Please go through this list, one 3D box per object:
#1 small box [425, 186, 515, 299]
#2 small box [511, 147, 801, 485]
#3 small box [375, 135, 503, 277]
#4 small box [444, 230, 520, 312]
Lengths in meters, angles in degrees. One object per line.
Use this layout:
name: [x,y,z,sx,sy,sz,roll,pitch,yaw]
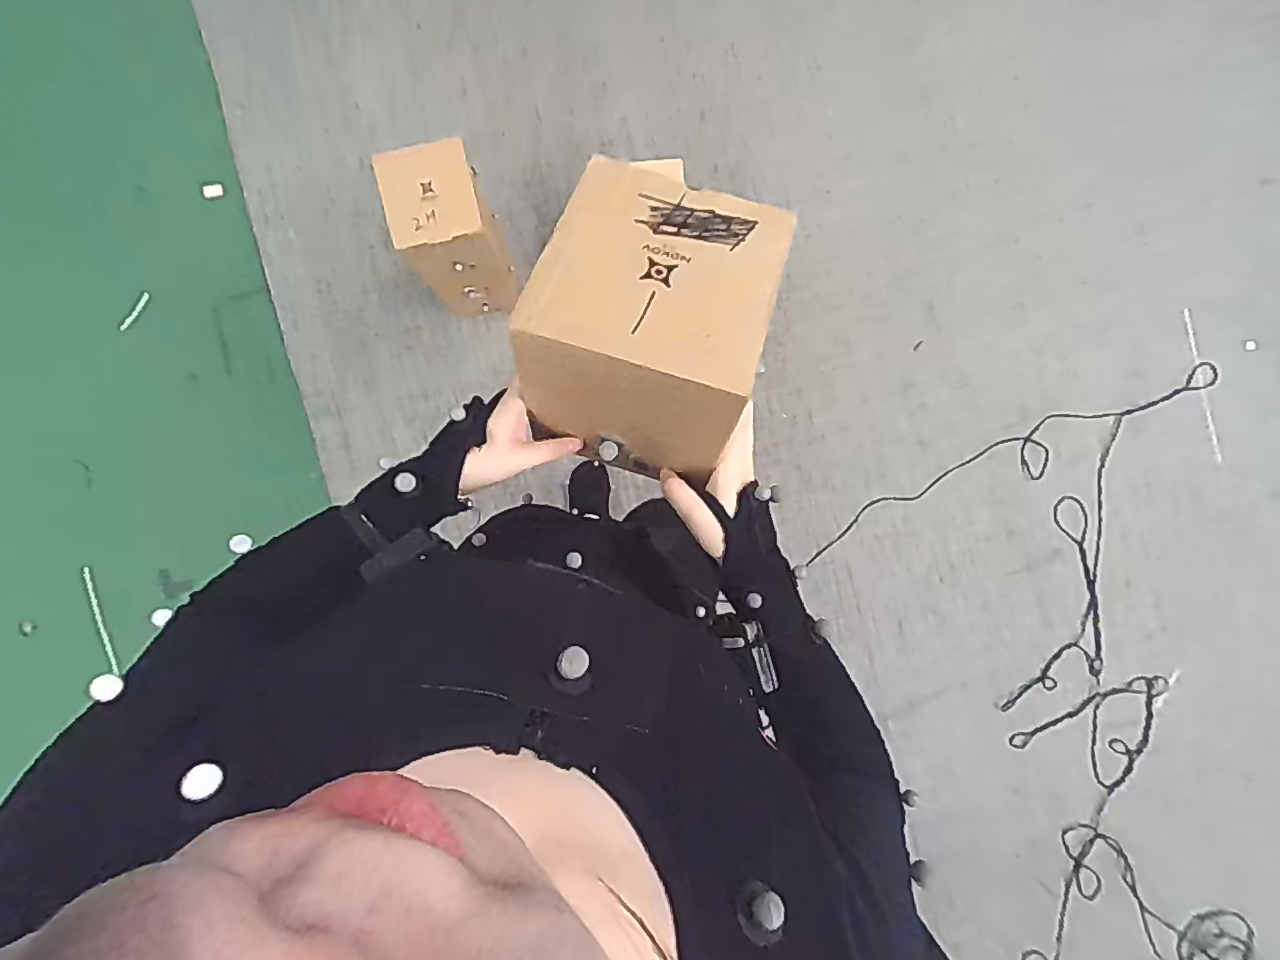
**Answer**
small box: [-0.391,-0.528,1.209,0.168,0.176,0.179,-13,94,-2]
small box: [0.012,-0.122,0.445,0.168,0.176,0.179,18,68,3]
small box: [-0.378,-0.519,1.045,0.168,0.176,0.179,-13,93,-2]
small box: [-0.405,-0.535,1.371,0.168,0.176,0.179,-10,94,-3]
